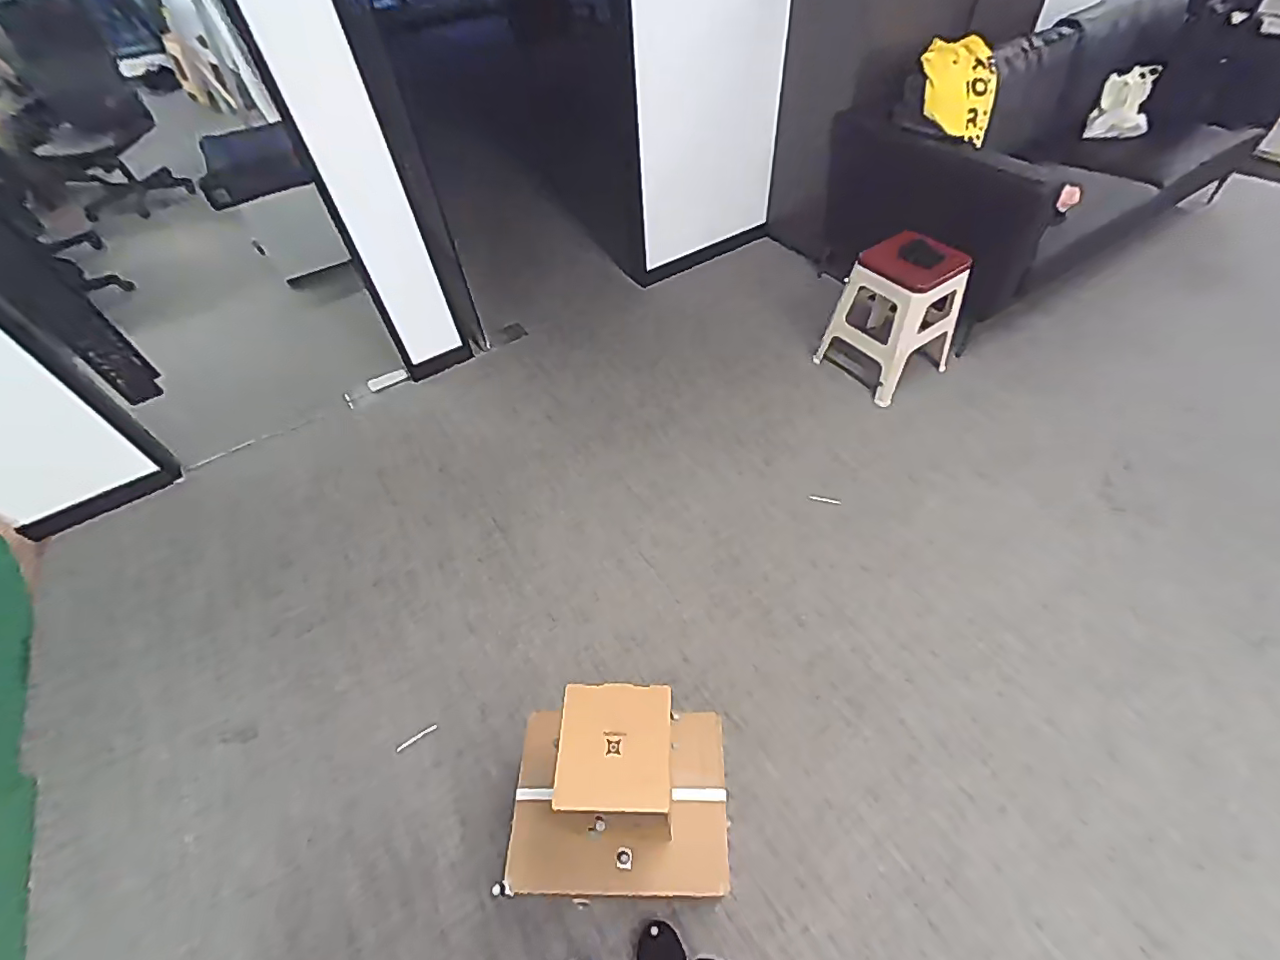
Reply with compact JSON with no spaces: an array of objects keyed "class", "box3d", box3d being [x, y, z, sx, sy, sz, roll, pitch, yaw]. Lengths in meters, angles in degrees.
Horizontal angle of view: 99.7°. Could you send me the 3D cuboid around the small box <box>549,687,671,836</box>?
[{"class":"small box","box3d":[-0.036,0.442,0.845,0.168,0.176,0.179,-1,48,4]}]
